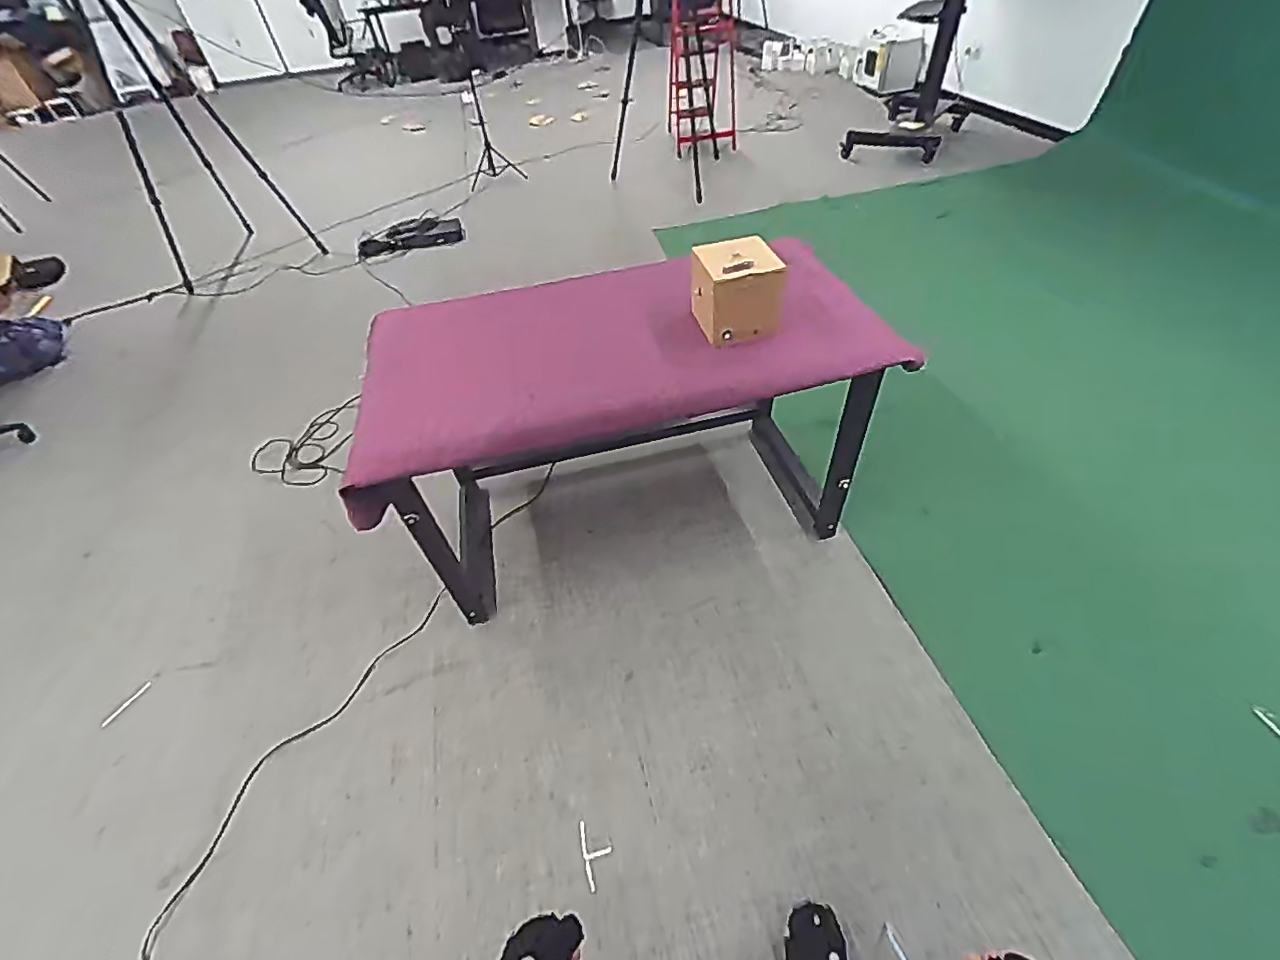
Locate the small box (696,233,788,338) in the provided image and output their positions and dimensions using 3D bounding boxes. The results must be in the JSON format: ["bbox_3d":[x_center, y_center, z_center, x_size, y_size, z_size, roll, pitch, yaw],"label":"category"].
[{"bbox_3d":[0.229,-0.445,1.255,0.168,0.176,0.179,-9,48,-4],"label":"small box"}]
